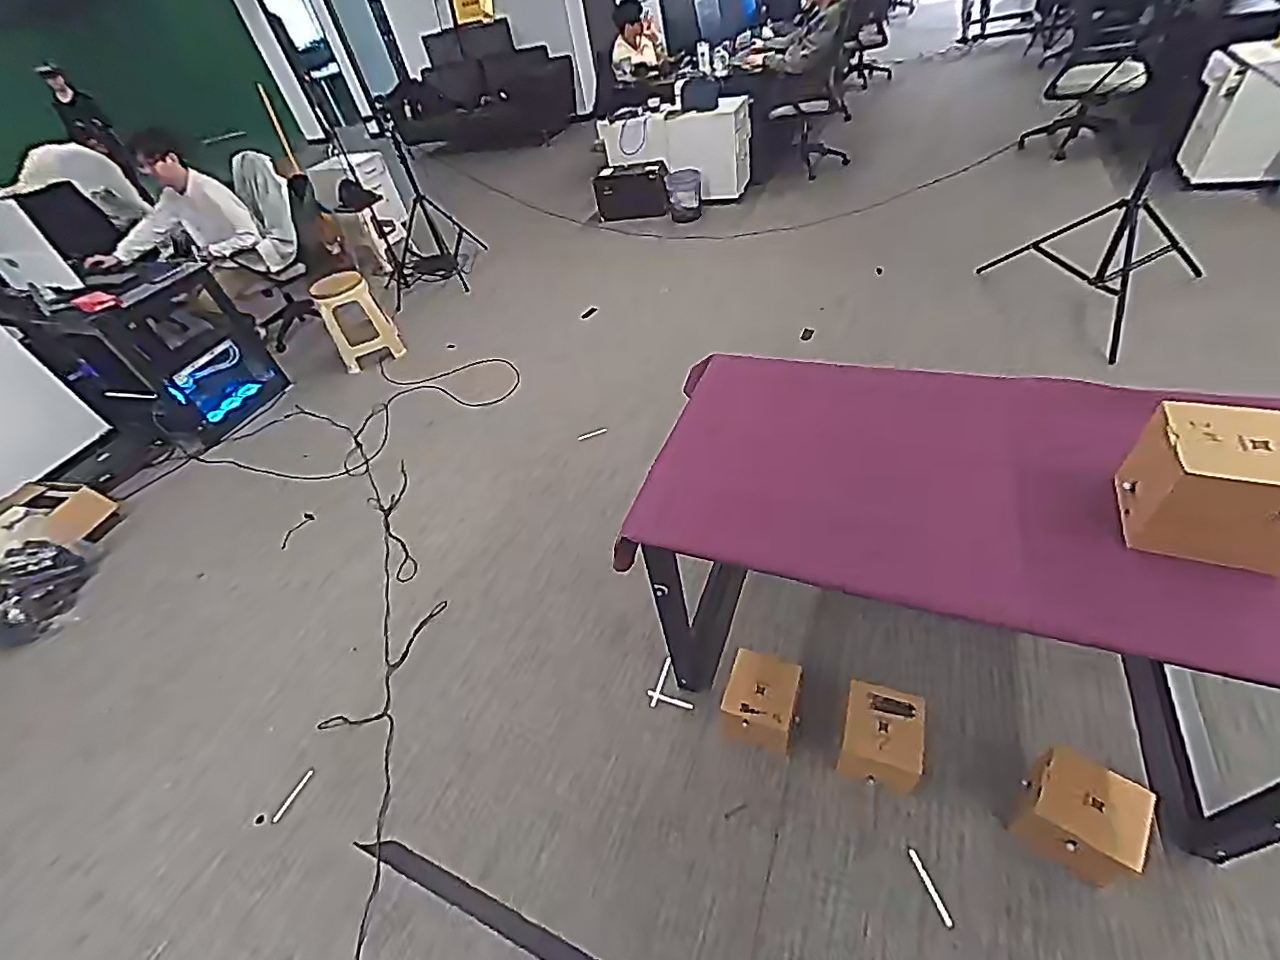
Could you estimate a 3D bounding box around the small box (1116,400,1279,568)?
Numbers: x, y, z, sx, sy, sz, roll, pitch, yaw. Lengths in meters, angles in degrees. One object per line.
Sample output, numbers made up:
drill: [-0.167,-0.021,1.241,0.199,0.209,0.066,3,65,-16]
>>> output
small box: [0.854,0.007,0.796,0.179,0.176,0.168,11,48,24]

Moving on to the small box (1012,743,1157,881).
small box: [0.922,0.700,1.134,0.179,0.176,0.168,24,56,34]

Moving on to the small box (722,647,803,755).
small box: [0.318,0.573,1.403,0.168,0.176,0.179,12,48,23]
